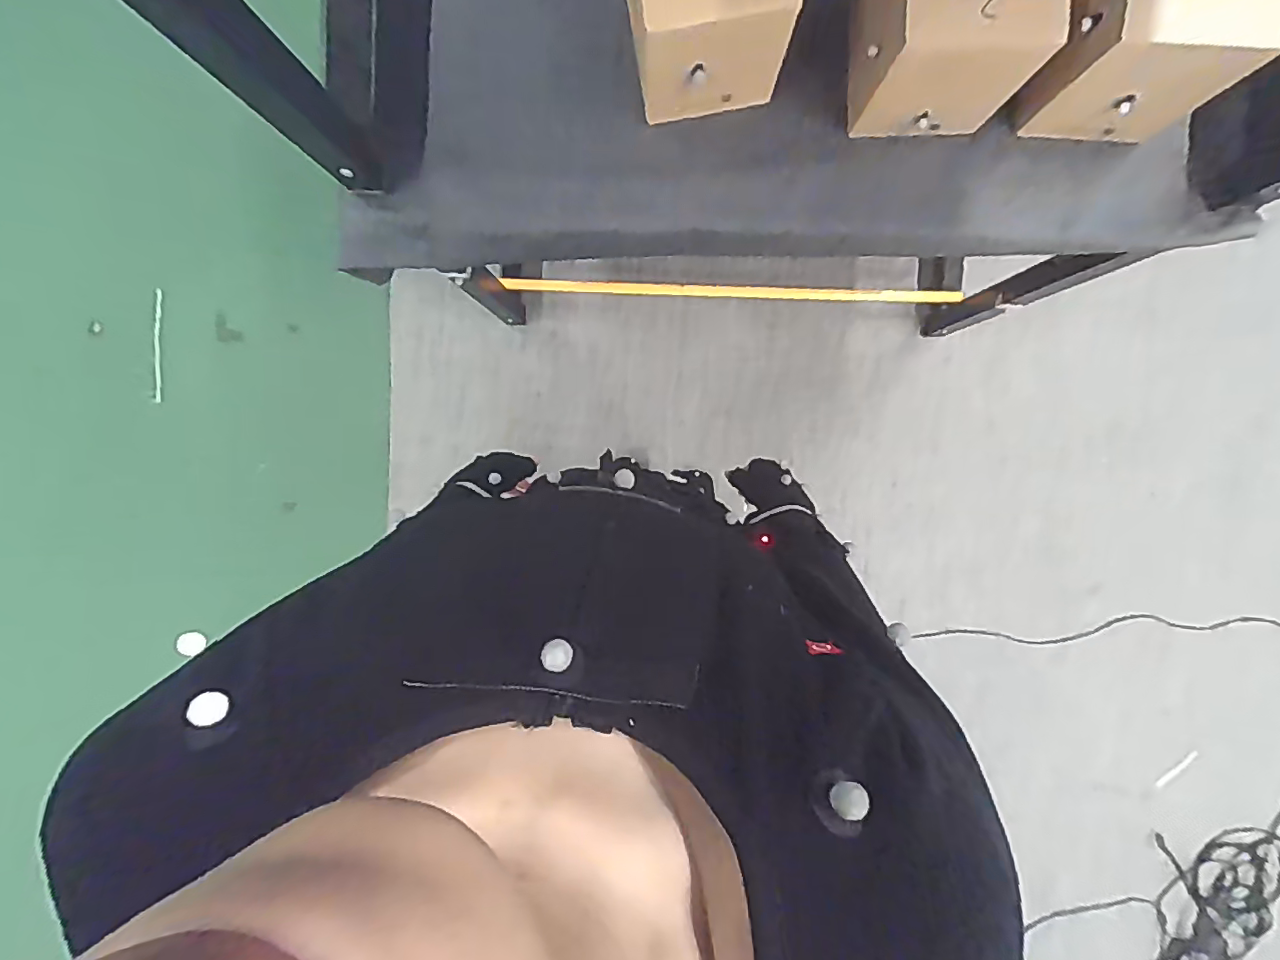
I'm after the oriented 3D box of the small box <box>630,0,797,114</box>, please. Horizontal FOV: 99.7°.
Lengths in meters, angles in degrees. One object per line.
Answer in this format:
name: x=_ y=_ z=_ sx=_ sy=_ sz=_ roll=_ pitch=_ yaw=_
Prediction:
small box: x=0.075 y=-0.567 z=0.636 sx=0.168 sy=0.176 sz=0.179 roll=-9 pitch=93 yaw=2
